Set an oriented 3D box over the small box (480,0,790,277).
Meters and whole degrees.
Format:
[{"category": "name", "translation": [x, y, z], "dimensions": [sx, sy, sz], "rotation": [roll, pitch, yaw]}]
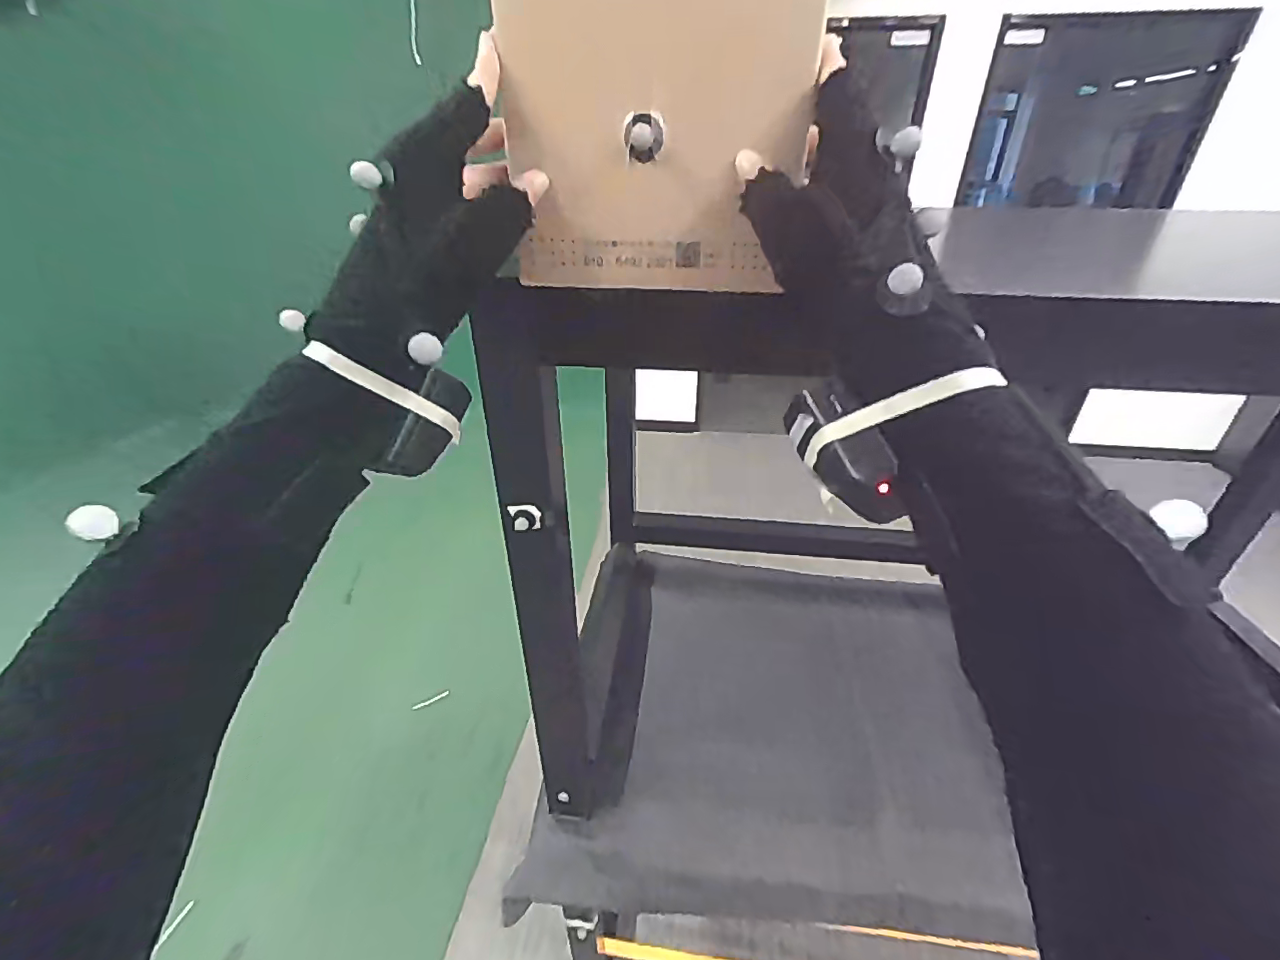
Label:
[{"category": "small box", "translation": [0.006, -0.243, 0.375], "dimensions": [0.168, 0.176, 0.179], "rotation": [3, 31, 4]}]
